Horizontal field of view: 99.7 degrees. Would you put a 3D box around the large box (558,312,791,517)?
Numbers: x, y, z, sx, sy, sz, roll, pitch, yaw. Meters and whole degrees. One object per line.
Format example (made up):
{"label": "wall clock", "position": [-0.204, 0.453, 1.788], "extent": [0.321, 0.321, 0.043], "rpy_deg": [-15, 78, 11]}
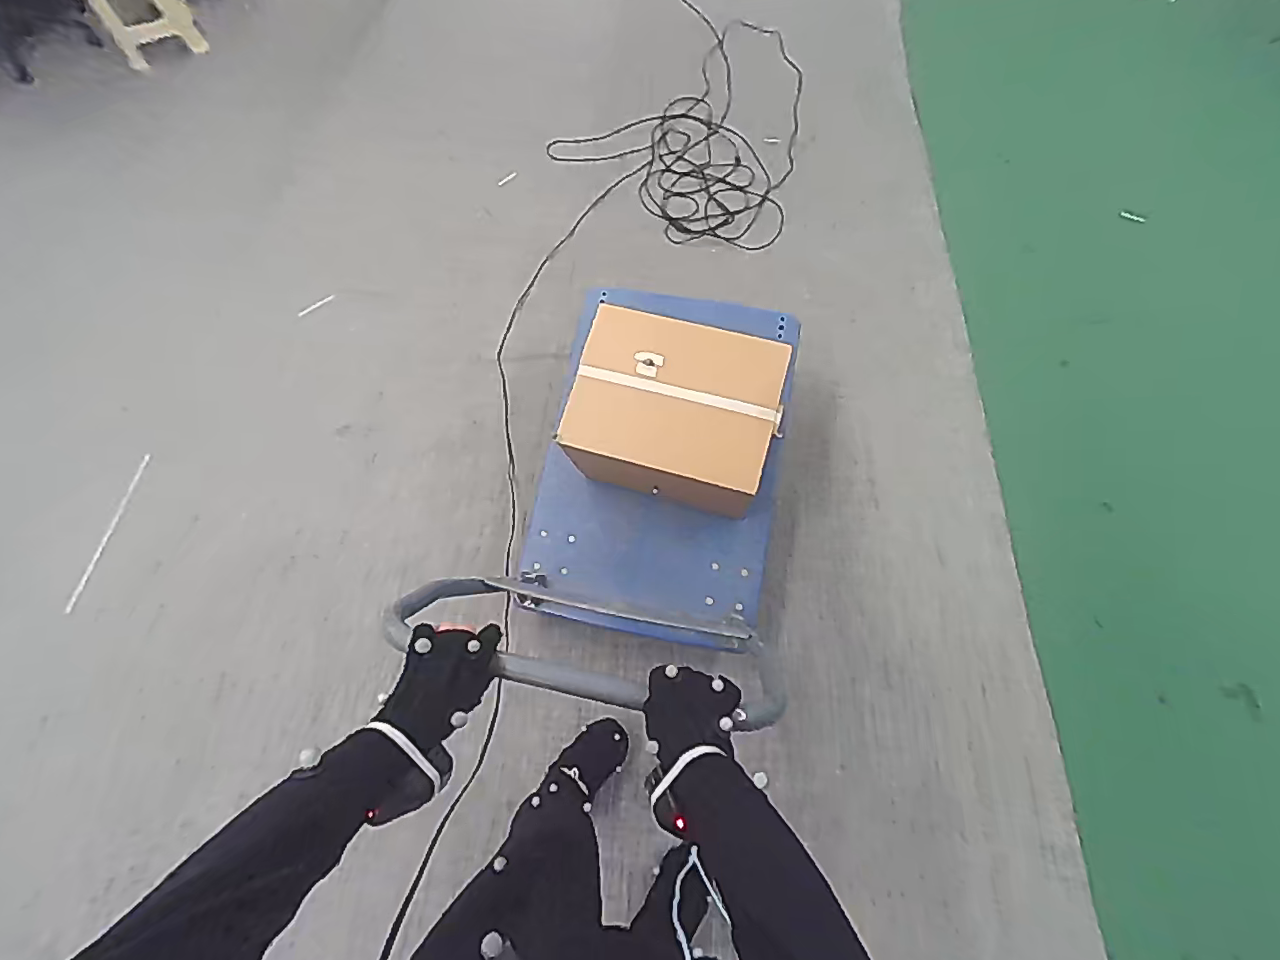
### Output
{"label": "large box", "position": [0.085, -0.126, 1.206], "extent": [0.408, 0.320, 0.320], "rpy_deg": [15, 79, 9]}
